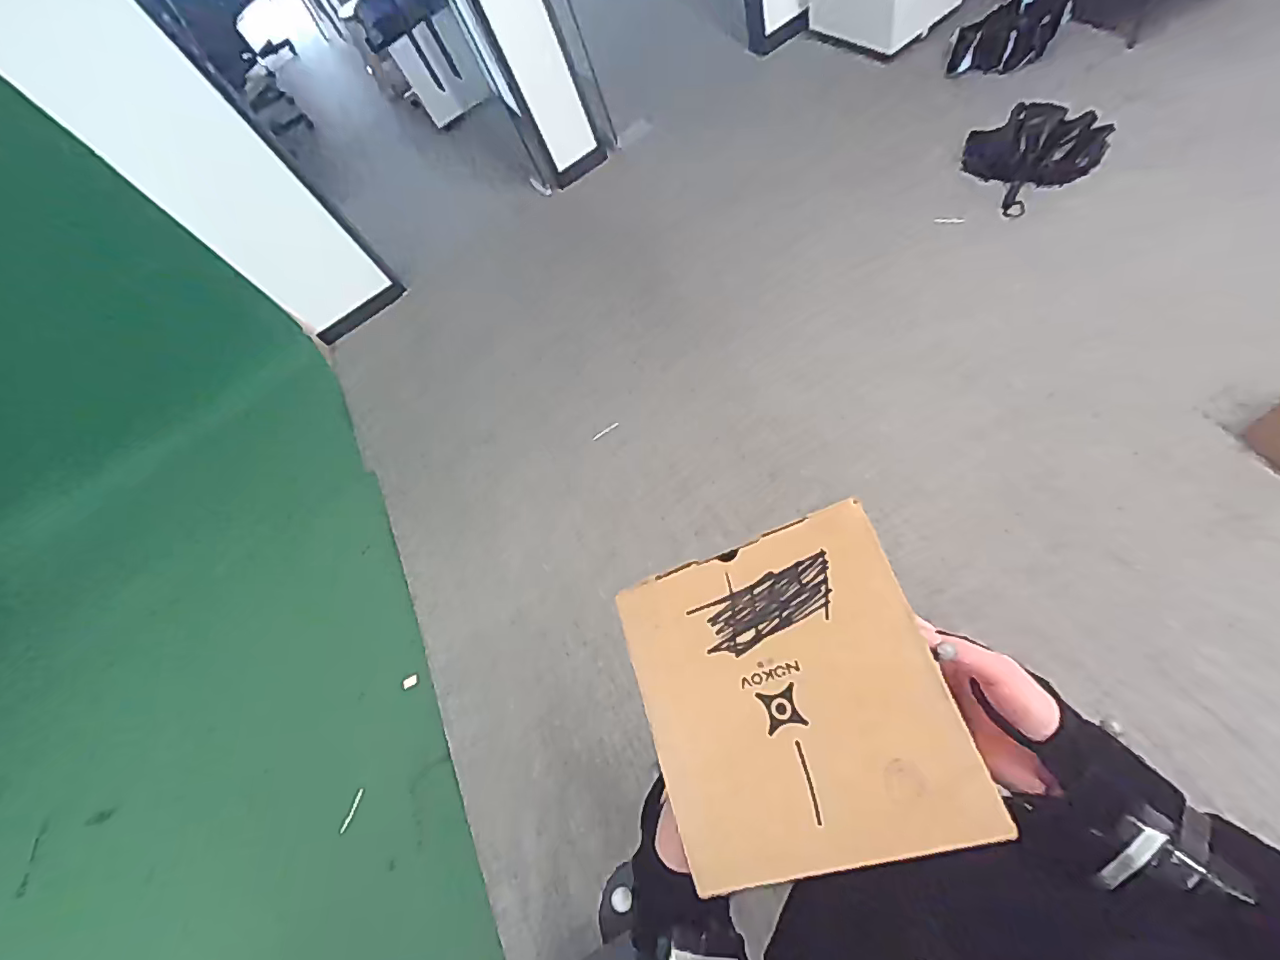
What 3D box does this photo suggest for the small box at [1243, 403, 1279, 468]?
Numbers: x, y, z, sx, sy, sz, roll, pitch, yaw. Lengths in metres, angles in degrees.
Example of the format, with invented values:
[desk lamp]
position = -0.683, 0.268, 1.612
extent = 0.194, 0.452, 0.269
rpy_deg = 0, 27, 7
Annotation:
[small box]
position = 1.553, -0.117, 1.217
extent = 0.168, 0.176, 0.179
rpy_deg = -27, 59, 6
